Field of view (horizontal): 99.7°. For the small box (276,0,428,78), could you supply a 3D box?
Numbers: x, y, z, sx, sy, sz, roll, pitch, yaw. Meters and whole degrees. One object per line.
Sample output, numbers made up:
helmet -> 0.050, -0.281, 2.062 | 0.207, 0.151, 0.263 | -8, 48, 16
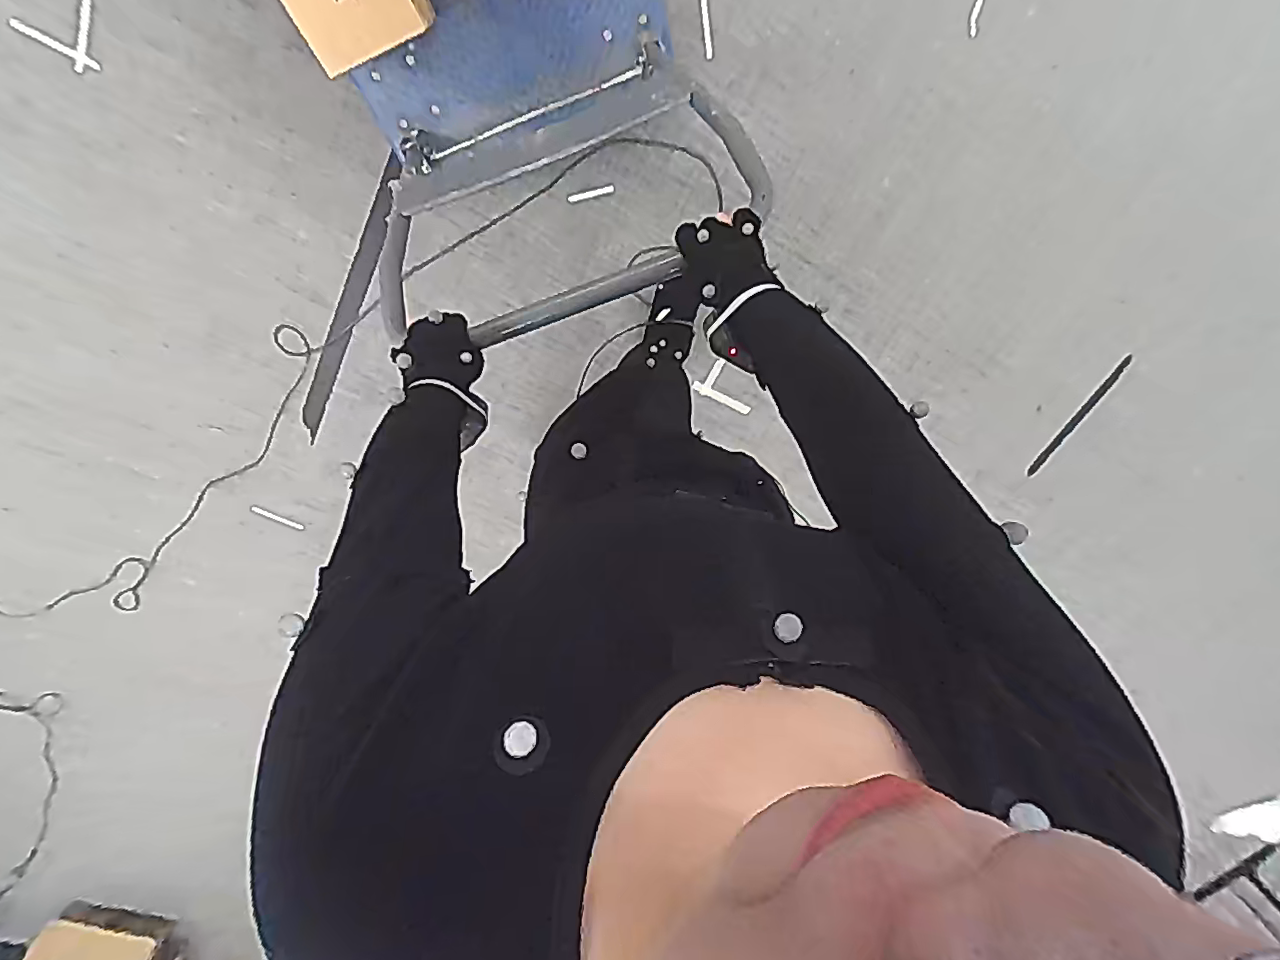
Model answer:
small box -> -0.449, -0.758, 0.830 | 0.179, 0.176, 0.168 | -22, 135, 6
